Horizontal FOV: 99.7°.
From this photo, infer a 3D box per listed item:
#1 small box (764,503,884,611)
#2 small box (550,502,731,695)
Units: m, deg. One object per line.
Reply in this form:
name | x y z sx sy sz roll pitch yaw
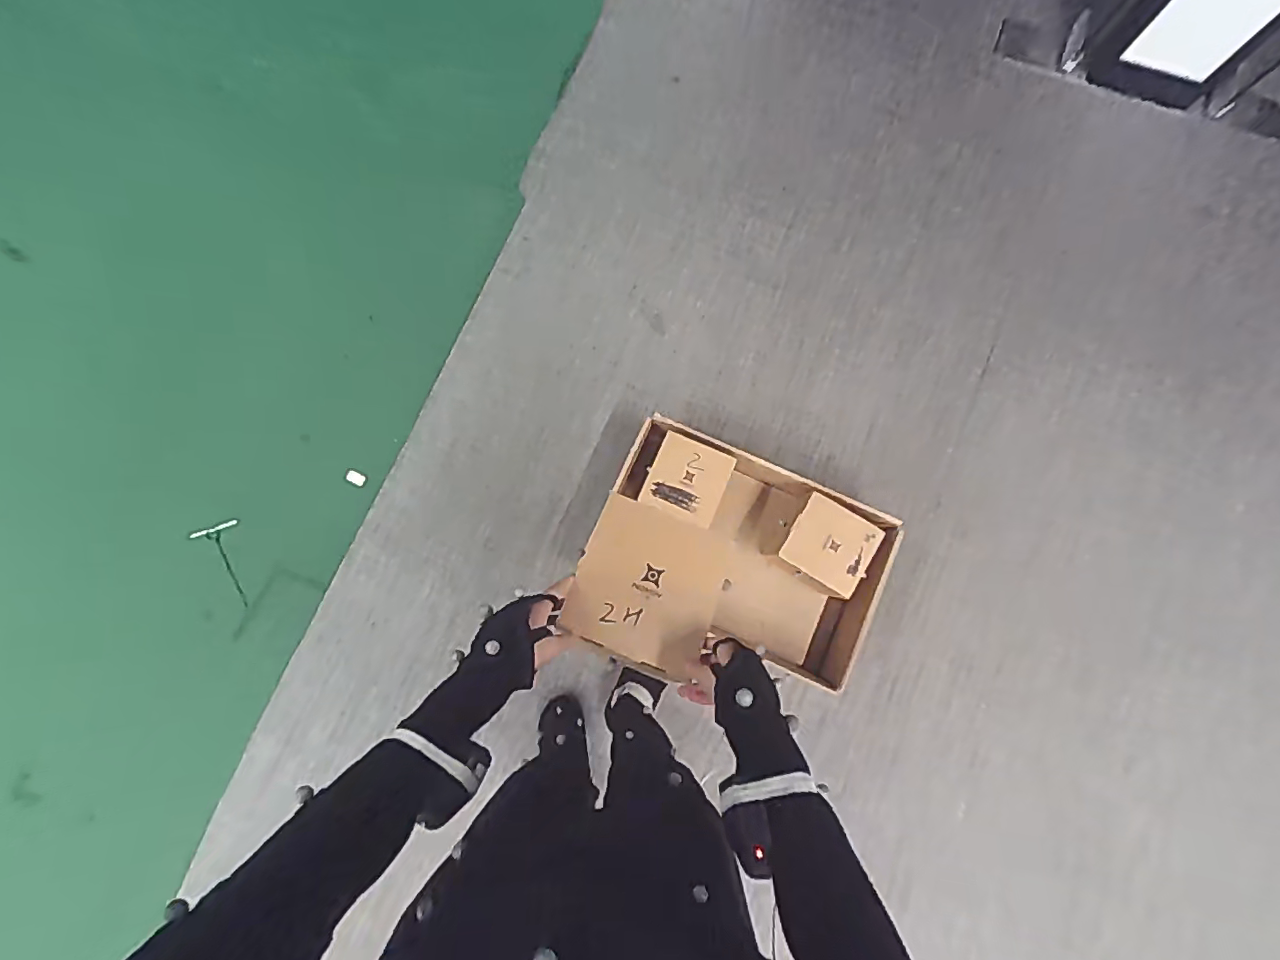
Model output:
small box | 0.399 0.176 1.209 0.179 0.176 0.168 33 83 8
small box | -0.004 0.159 0.698 0.168 0.176 0.179 23 68 4
